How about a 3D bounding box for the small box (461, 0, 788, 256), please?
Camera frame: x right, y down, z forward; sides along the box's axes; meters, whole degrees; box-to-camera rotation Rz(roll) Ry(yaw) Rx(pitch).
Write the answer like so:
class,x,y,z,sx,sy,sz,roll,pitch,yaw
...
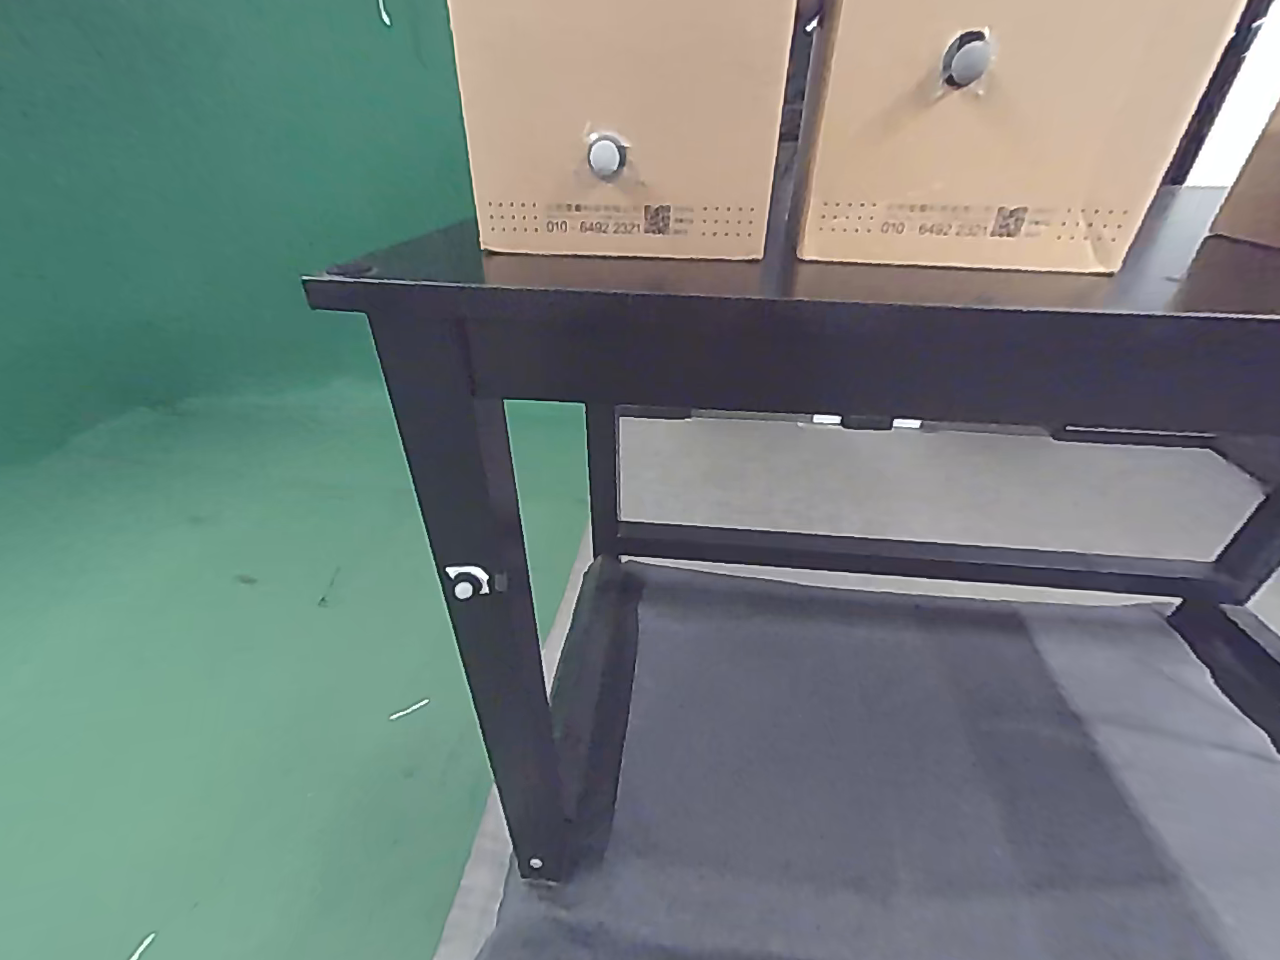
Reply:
class,x,y,z,sx,sy,sz,roll,pitch,yaw
small box,-0.005,-0.251,0.342,0.168,0.176,0.179,3,34,4
